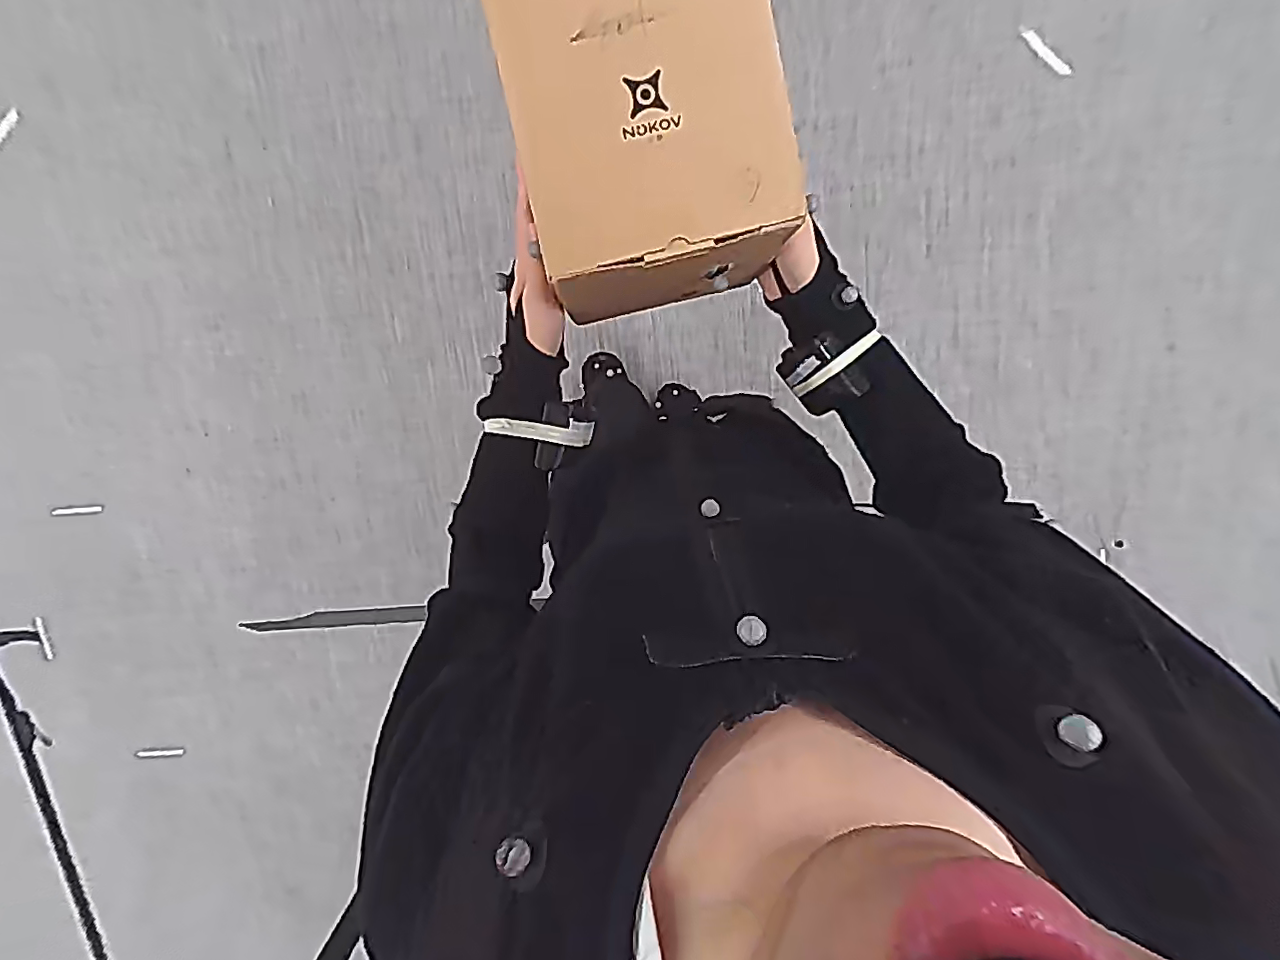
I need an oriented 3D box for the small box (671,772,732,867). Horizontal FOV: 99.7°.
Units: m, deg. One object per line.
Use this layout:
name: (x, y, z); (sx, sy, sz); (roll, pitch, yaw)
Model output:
small box: (0.179, 0.996, 1.593); (0.168, 0.176, 0.179); (-4, 101, 3)
